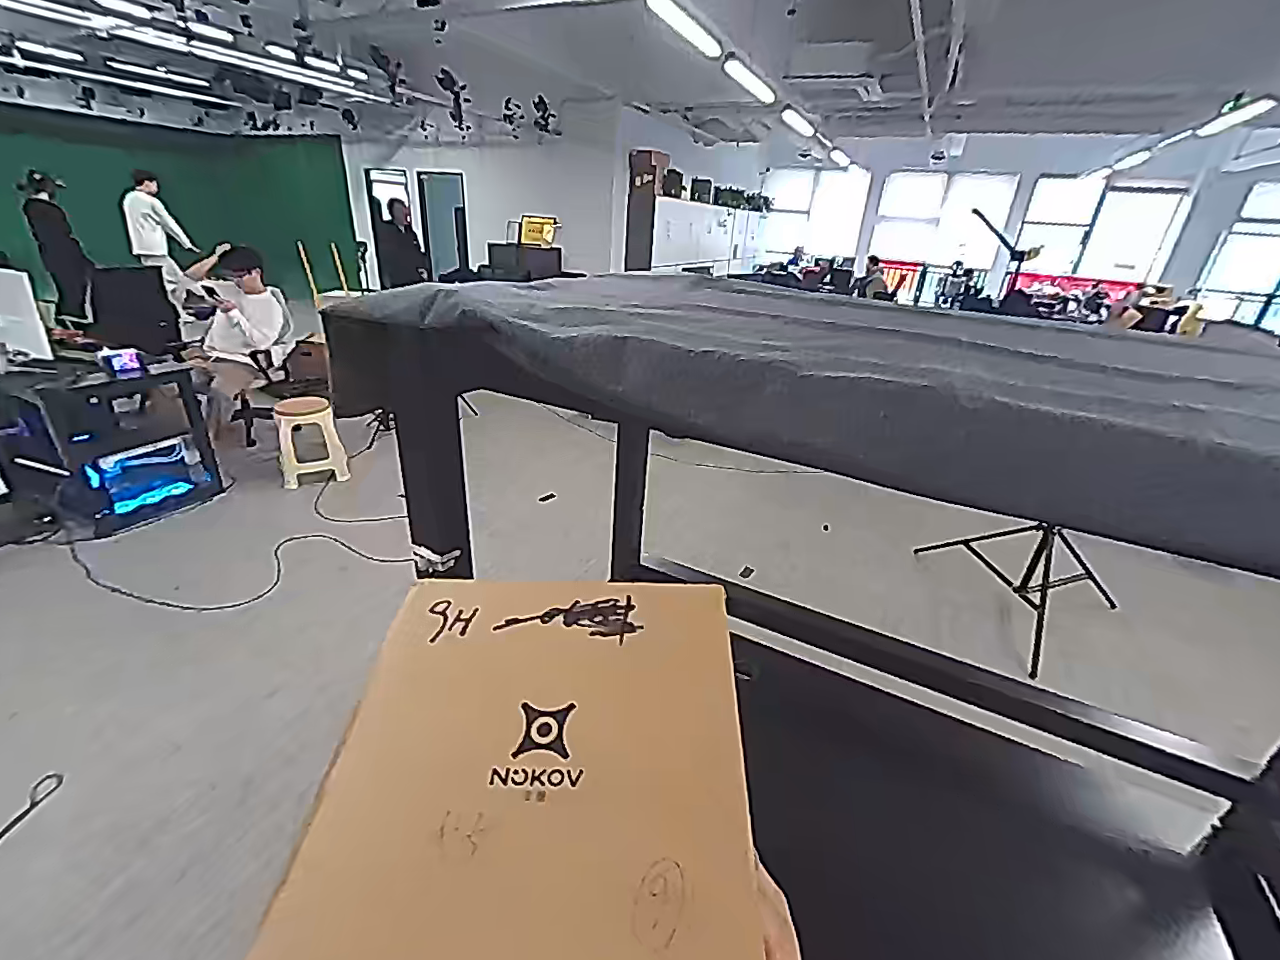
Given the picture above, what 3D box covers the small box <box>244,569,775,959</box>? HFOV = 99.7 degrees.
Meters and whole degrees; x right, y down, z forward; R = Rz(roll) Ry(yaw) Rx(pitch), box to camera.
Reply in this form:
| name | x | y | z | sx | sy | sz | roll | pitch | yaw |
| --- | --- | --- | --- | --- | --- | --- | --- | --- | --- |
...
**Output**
| name | x | y | z | sx | sy | sz | roll | pitch | yaw |
| --- | --- | --- | --- | --- | --- | --- | --- | --- | --- |
| small box | -0.037 | 0.164 | 0.264 | 0.168 | 0.176 | 0.179 | 1 | 42 | 0 |
